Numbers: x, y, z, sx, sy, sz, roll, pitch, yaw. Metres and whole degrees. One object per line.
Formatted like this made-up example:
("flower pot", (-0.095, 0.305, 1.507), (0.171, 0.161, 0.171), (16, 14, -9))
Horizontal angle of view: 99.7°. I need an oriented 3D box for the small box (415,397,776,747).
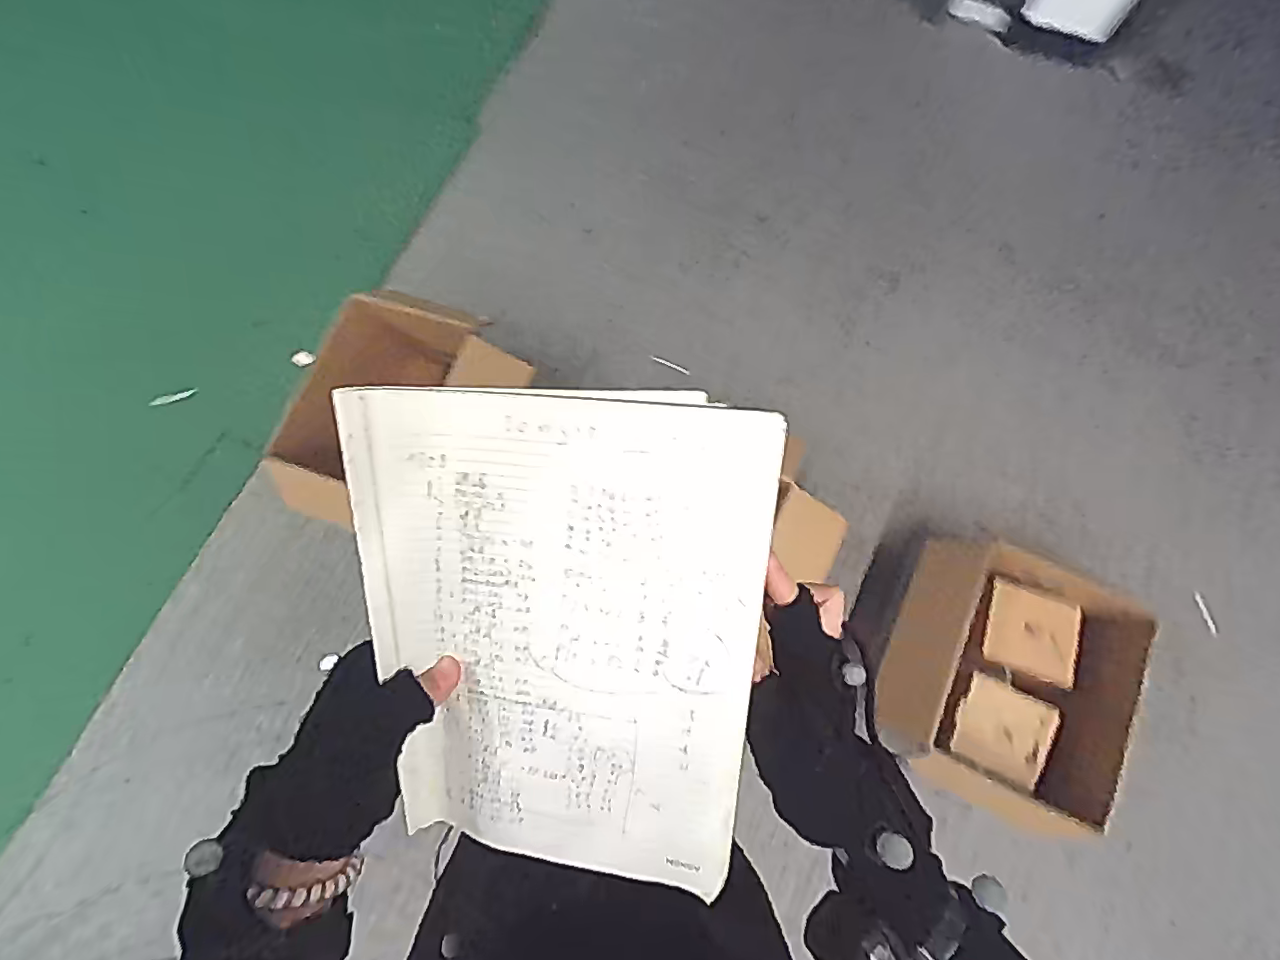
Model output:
("small box", (-0.014, 0.049, 0.369), (0.179, 0.176, 0.168), (-9, 109, 7))
